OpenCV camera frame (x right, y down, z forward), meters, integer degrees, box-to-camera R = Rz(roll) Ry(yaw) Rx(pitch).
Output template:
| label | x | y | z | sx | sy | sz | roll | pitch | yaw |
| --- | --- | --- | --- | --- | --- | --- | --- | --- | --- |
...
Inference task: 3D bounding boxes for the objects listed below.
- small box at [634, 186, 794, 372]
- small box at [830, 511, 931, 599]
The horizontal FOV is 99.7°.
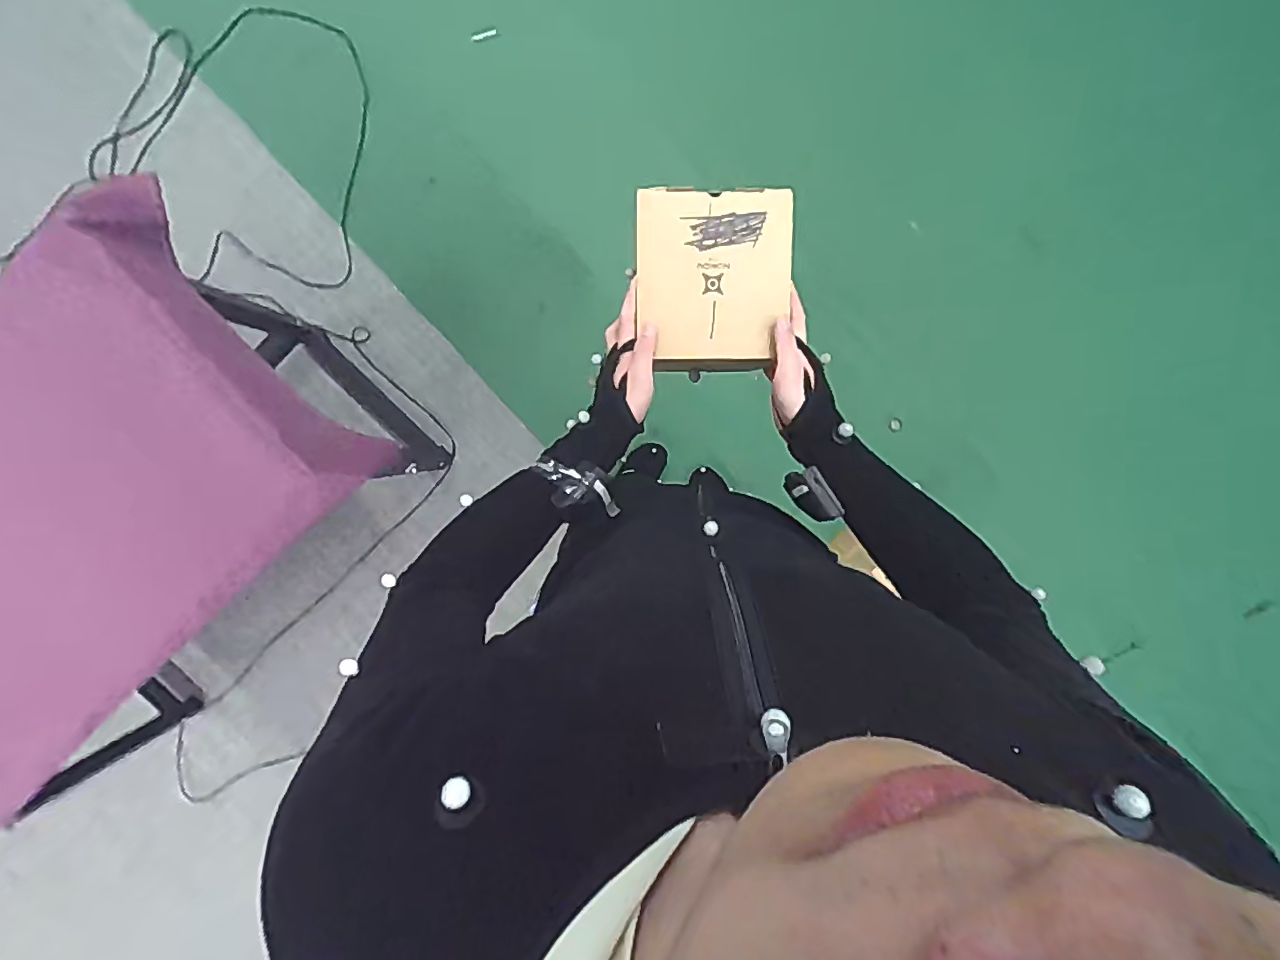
| label | x | y | z | sx | sy | sz | roll | pitch | yaw |
| --- | --- | --- | --- | --- | --- | --- | --- | --- | --- |
| small box | 0.076 | -0.225 | 0.644 | 0.168 | 0.176 | 0.179 | -1 | 98 | 0 |
| small box | 0.684 | 0.208 | 1.559 | 0.179 | 0.176 | 0.168 | -40 | 92 | 3 |
